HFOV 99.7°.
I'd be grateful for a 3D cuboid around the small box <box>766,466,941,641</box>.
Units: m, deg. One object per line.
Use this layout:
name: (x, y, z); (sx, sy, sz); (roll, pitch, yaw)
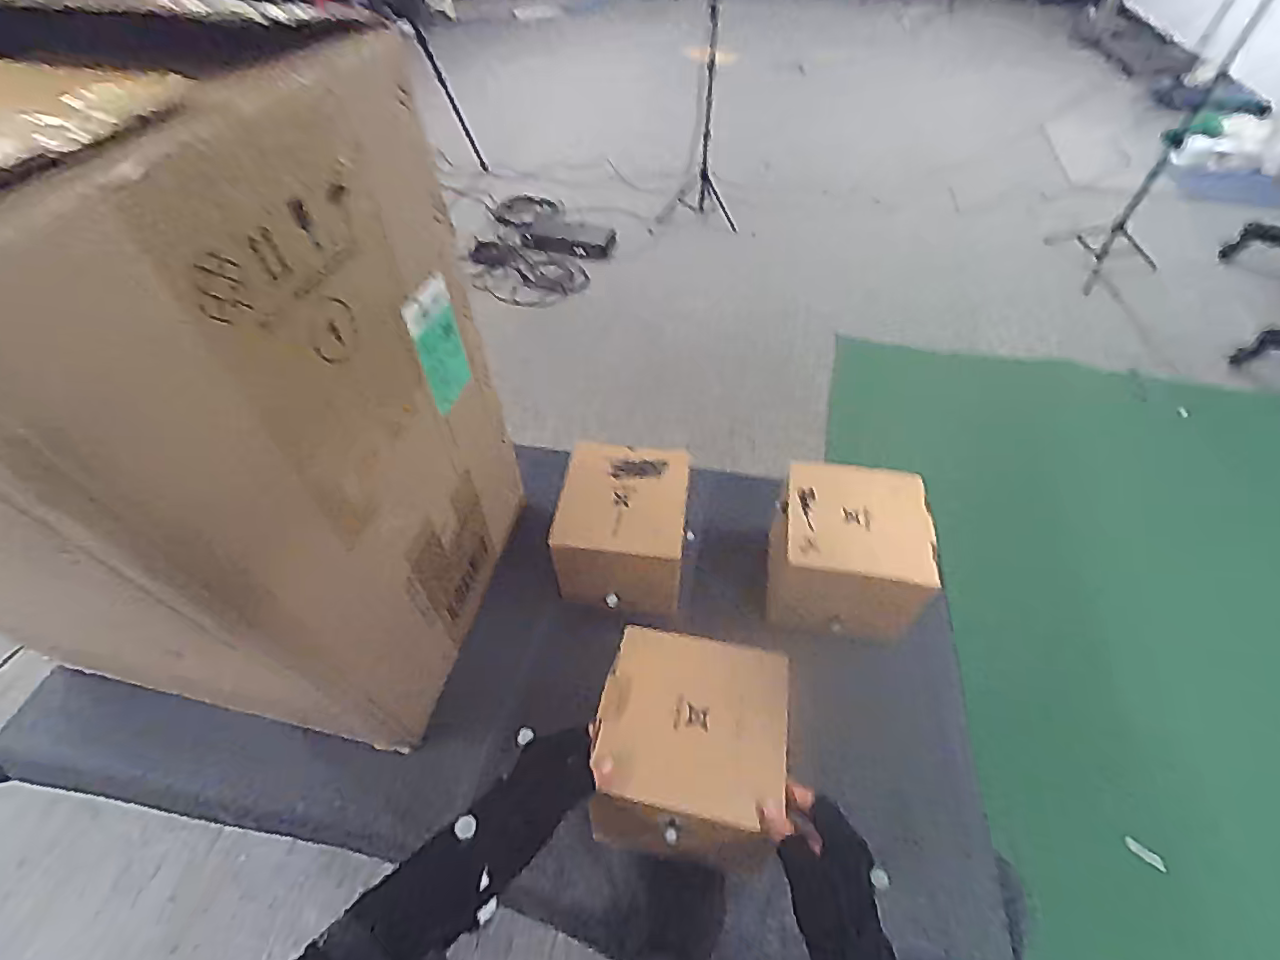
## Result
small box: (0.283, 0.106, 0.751); (0.179, 0.176, 0.168); (9, 50, 7)
